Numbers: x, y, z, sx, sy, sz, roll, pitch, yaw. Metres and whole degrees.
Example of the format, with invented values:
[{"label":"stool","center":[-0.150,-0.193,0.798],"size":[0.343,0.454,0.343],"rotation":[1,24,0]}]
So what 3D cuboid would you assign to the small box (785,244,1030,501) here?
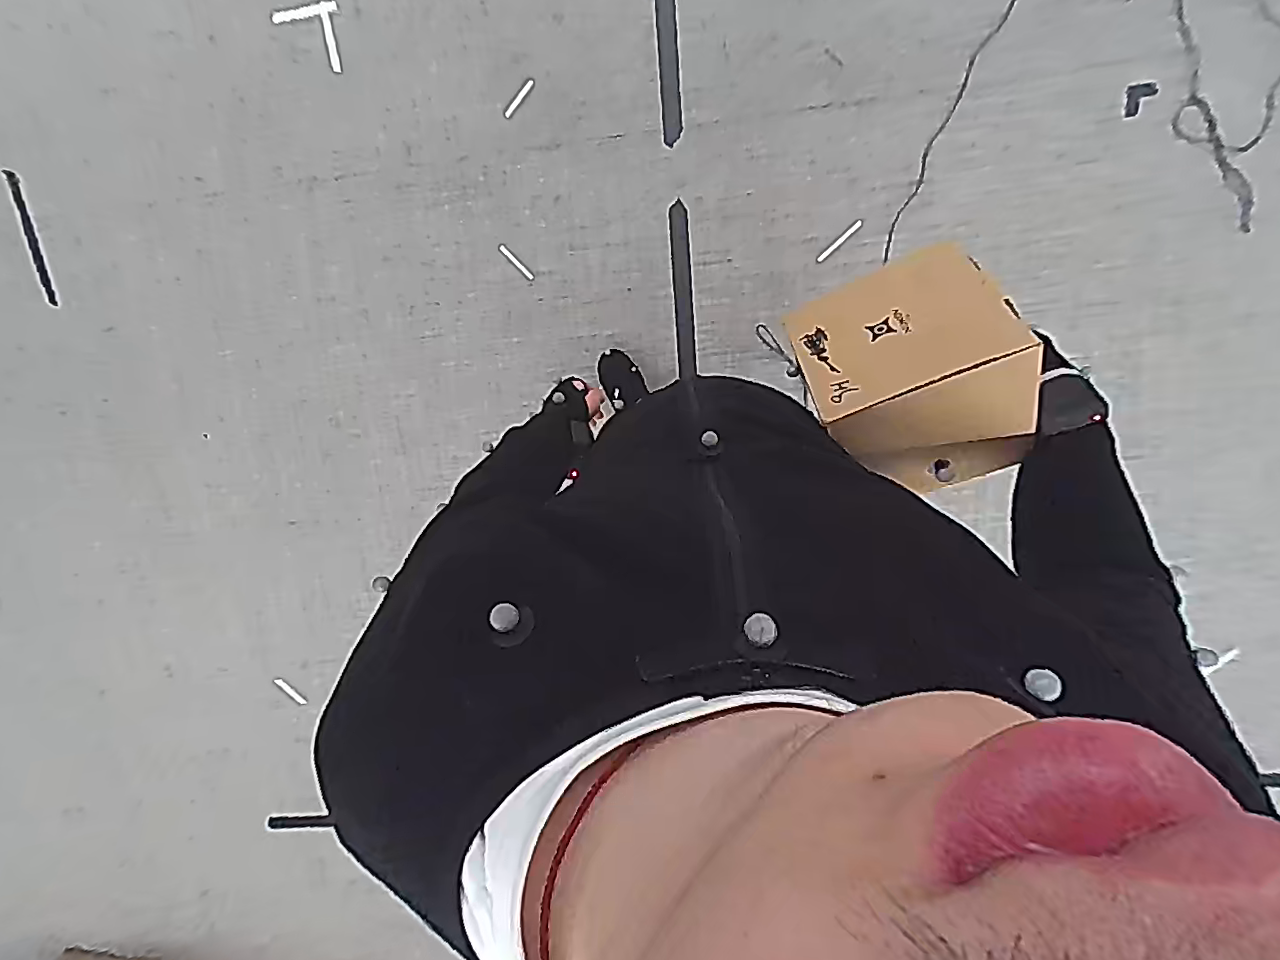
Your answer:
[{"label":"small box","center":[0.276,-0.105,0.577],"size":[0.179,0.168,0.176],"rotation":[-21,138,19]}]
